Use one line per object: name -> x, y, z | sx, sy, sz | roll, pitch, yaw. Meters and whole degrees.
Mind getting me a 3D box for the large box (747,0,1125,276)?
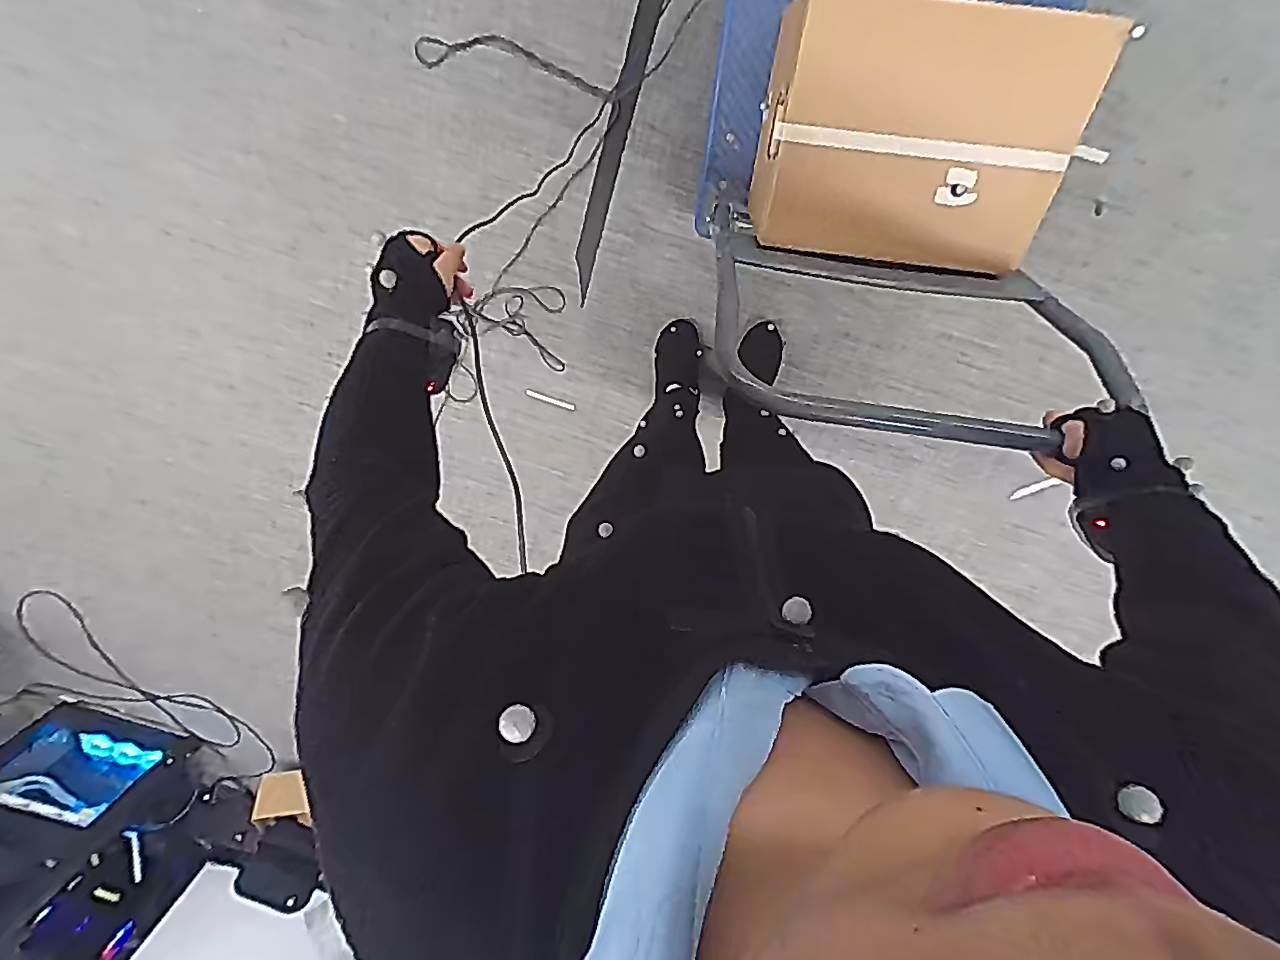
large box -> 0.408, -0.549, 0.884 | 0.408, 0.320, 0.320 | 7, 127, 1
